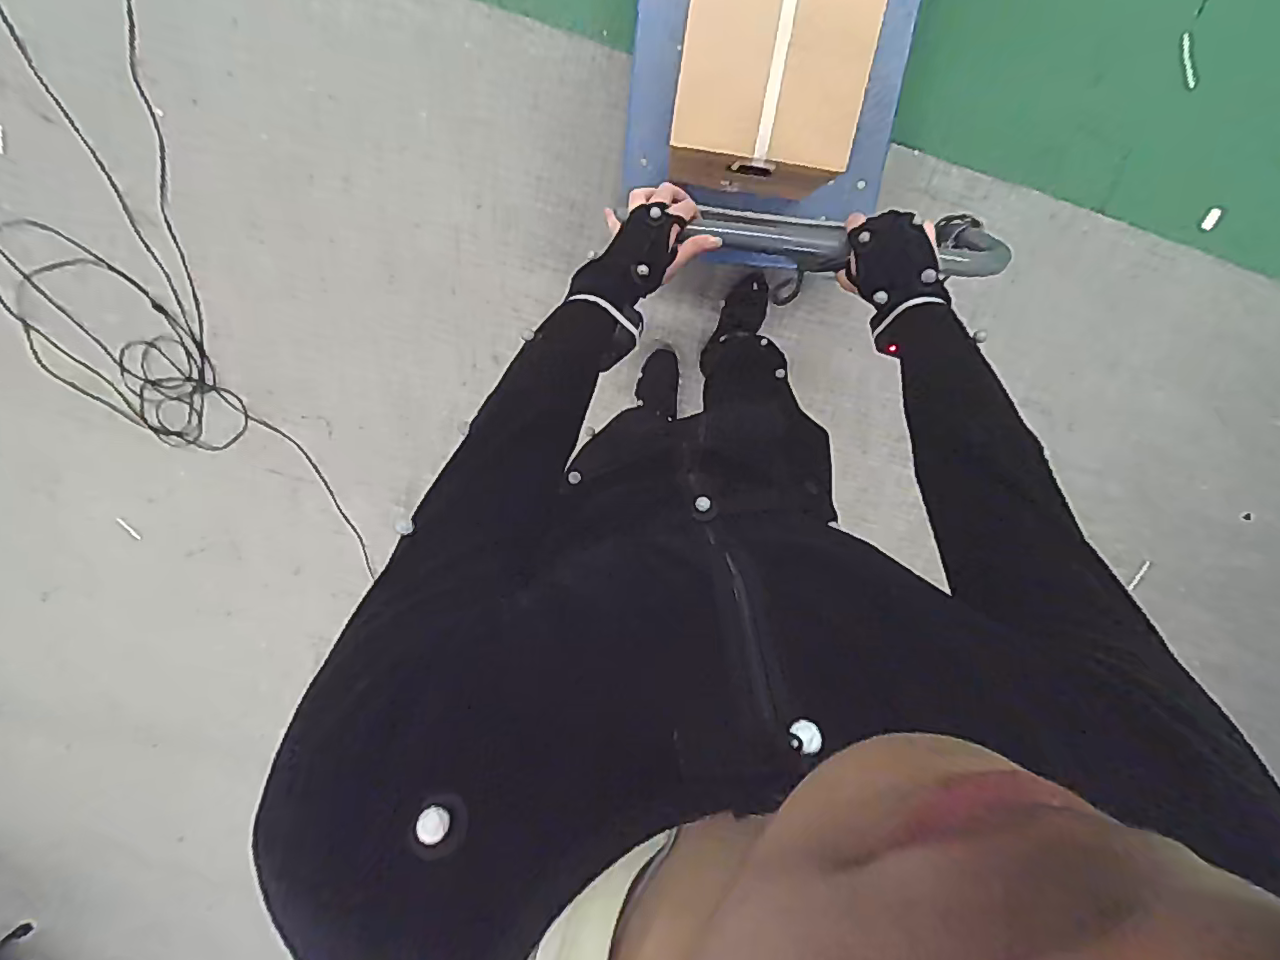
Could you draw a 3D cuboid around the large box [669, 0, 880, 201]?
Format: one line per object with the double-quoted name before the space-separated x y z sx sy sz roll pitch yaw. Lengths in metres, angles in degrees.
"large box" 0.234 -0.789 1.022 0.320 0.320 0.408 9 109 -1
